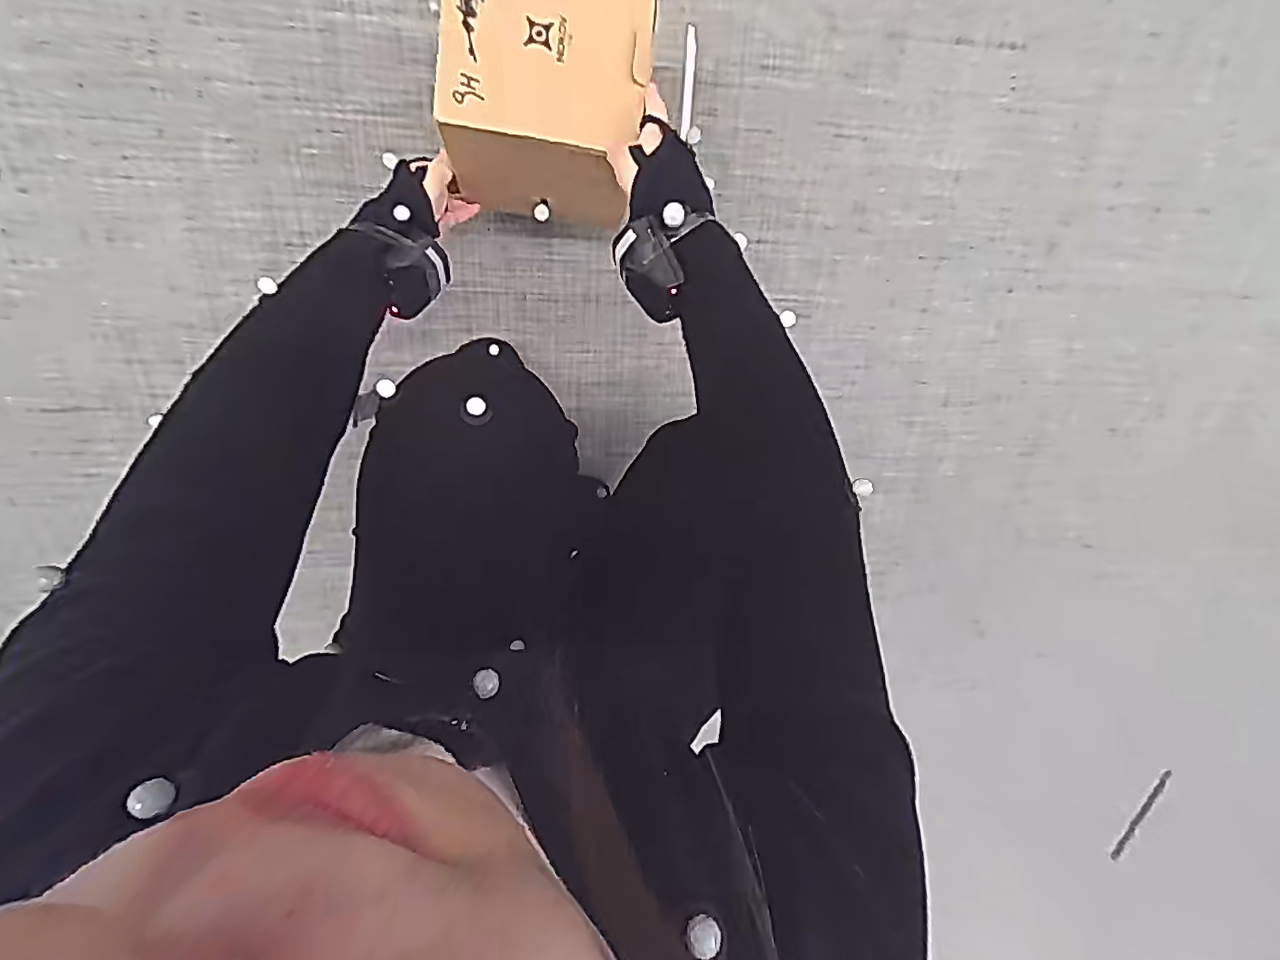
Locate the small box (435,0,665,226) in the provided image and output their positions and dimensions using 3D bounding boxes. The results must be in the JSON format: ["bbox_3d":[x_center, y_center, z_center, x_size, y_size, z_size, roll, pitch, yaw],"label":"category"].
[{"bbox_3d":[-0.086,-0.367,0.523,0.179,0.176,0.168,6,93,-11],"label":"small box"}]
